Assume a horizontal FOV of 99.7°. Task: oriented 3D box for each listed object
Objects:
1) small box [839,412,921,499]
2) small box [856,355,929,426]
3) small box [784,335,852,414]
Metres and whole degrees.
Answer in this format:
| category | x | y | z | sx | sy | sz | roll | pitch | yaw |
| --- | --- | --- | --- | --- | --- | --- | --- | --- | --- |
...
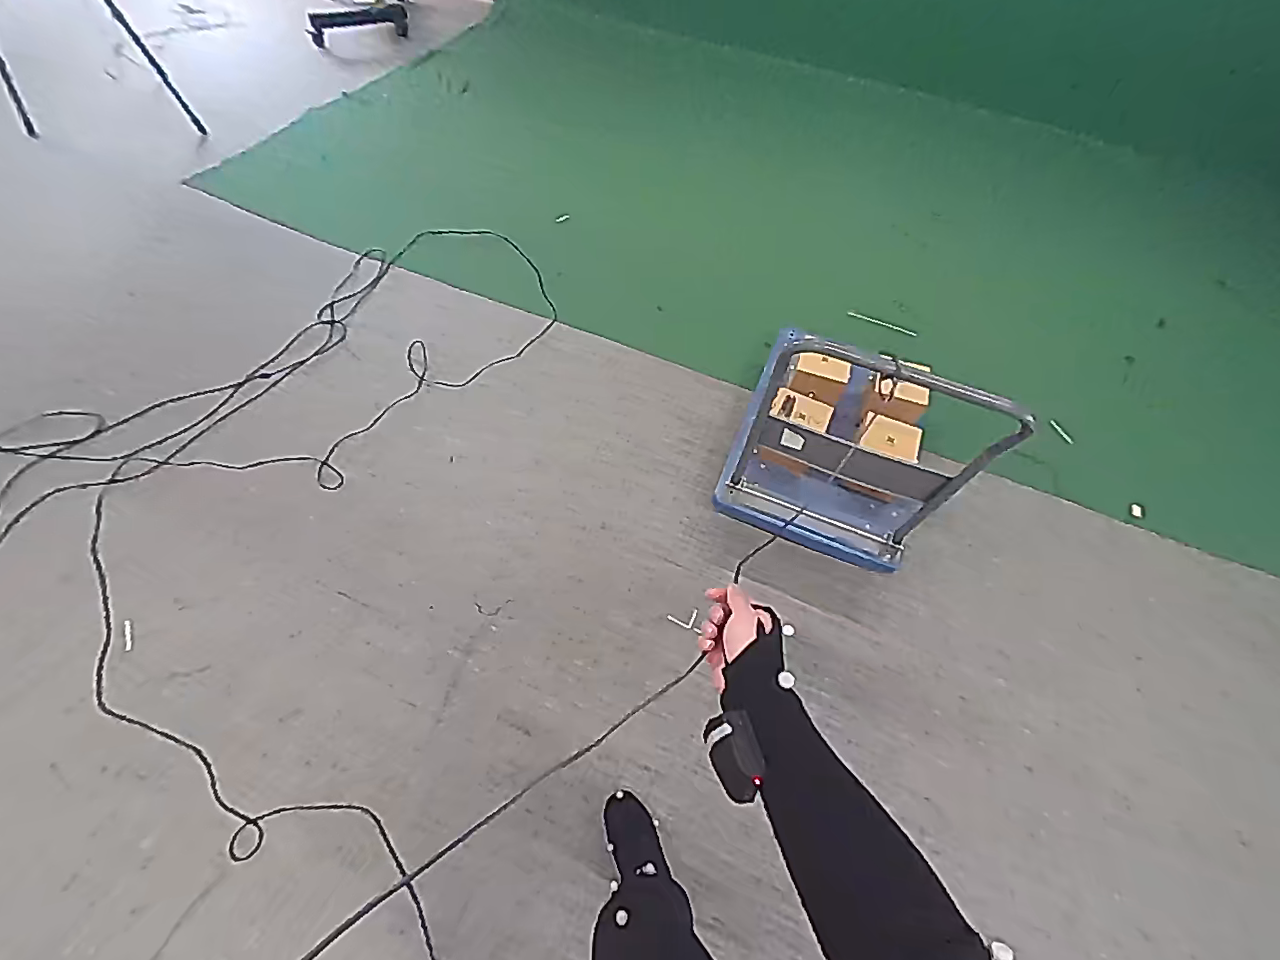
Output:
| category | x | y | z | sx | sy | sz | roll | pitch | yaw |
| --- | --- | --- | --- | --- | --- | --- | --- | --- | --- |
| small box | 0.733 | -0.072 | 1.662 | 0.168 | 0.176 | 0.179 | 22 | 59 | 10 |
| small box | 0.836 | -0.280 | 1.800 | 0.168 | 0.176 | 0.179 | 17 | 59 | 9 |
| small box | 0.598 | -0.353 | 1.834 | 0.168 | 0.176 | 0.179 | 18 | 58 | 7 |
